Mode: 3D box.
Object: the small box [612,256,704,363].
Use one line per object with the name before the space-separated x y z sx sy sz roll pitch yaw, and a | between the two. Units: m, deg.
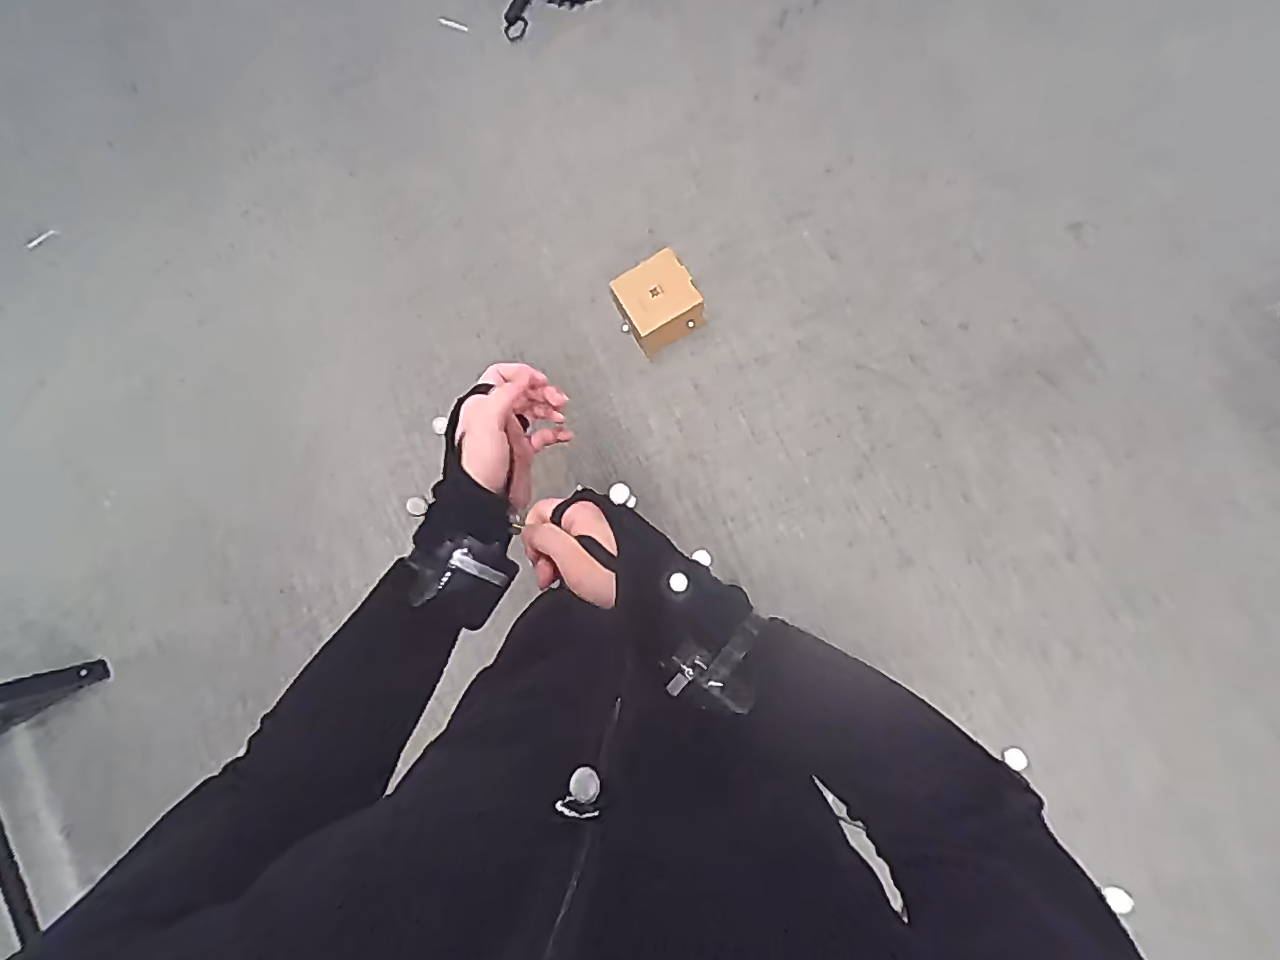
small box | 0.049 -0.429 1.390 0.179 0.176 0.168 -31 82 3
